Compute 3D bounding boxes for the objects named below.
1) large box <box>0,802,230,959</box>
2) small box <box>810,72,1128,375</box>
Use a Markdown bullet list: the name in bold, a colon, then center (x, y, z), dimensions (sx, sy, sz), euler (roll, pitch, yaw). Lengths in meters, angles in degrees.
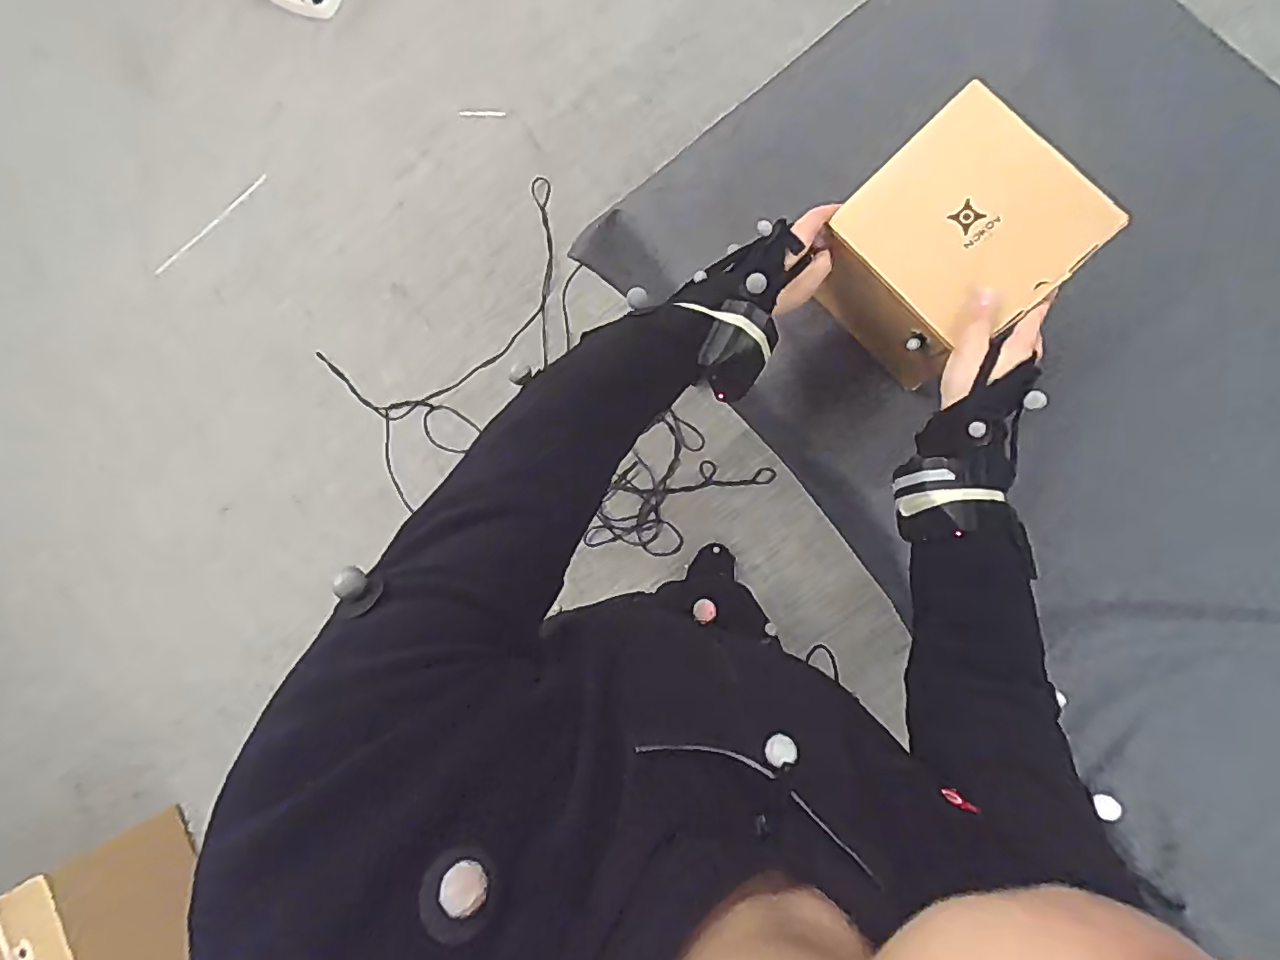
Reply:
- **large box**: center (-1.350, 1.133, 1.361), dimensions (0.320, 0.320, 0.408), euler (-30, 80, 5)
- **small box**: center (0.290, -0.226, 0.531), dimensions (0.168, 0.176, 0.179), euler (-43, 84, 9)
